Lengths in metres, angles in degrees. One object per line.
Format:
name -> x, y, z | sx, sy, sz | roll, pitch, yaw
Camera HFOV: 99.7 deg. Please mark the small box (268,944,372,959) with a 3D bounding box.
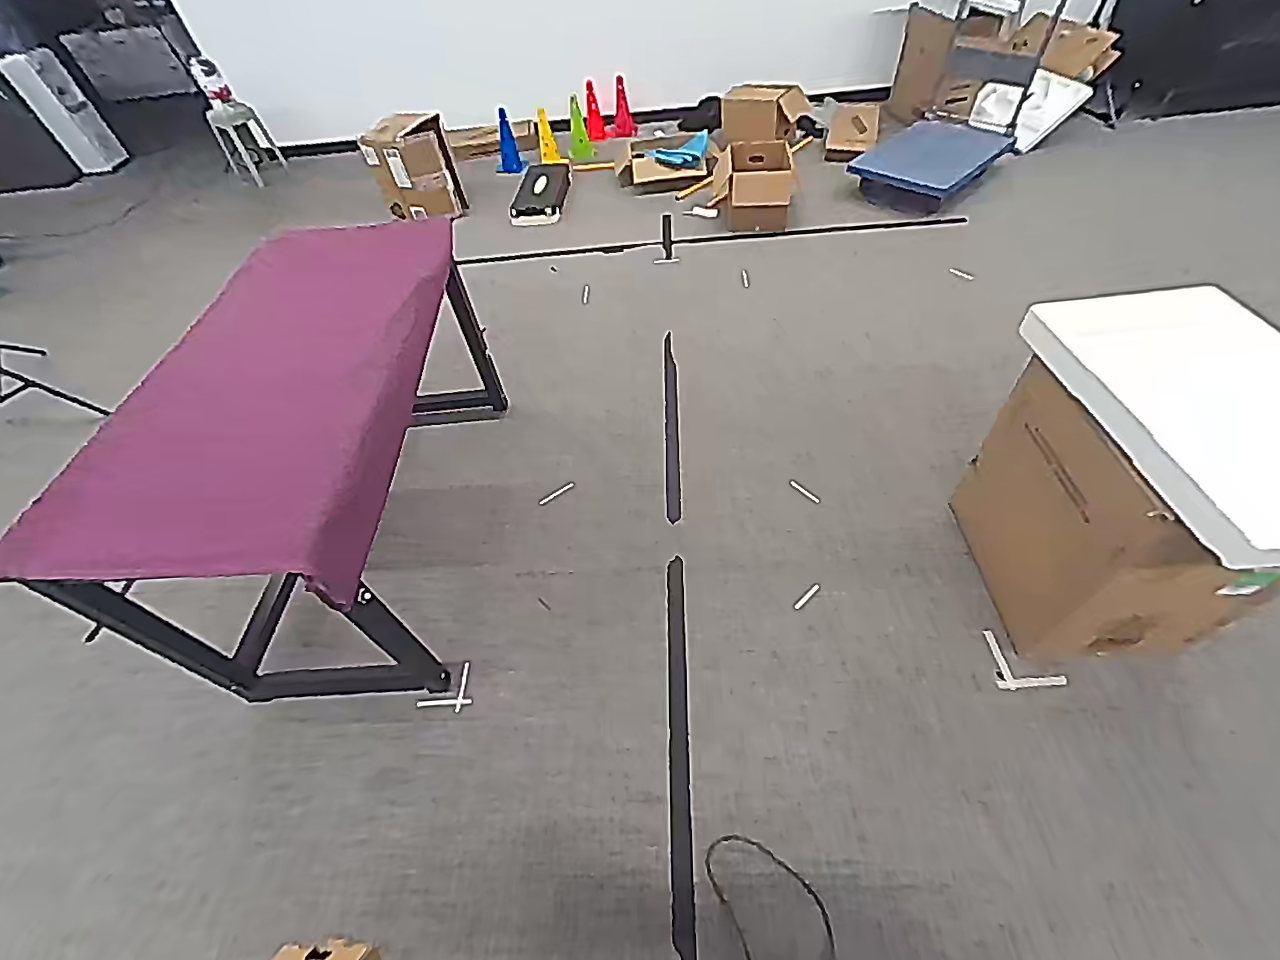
small box -> -0.388, 0.671, 0.599 | 0.168, 0.176, 0.179 | -18, 5, 20
